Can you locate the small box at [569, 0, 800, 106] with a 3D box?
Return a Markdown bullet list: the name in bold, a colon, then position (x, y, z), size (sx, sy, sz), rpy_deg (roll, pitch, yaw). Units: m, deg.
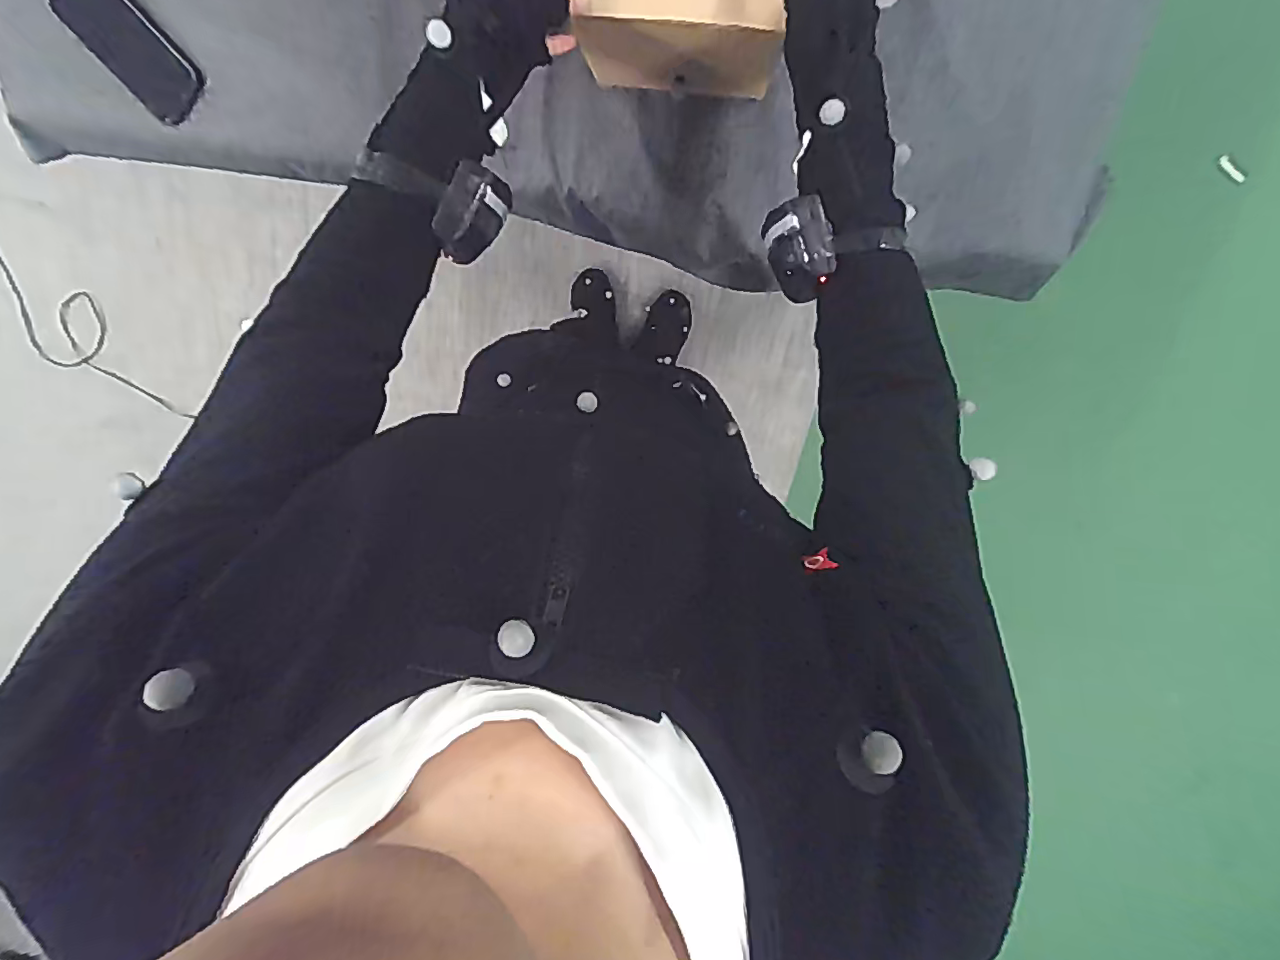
- **small box**: position (0.045, -0.445, 0.463), size (0.179, 0.176, 0.168), rpy_deg (7, 110, 2)
